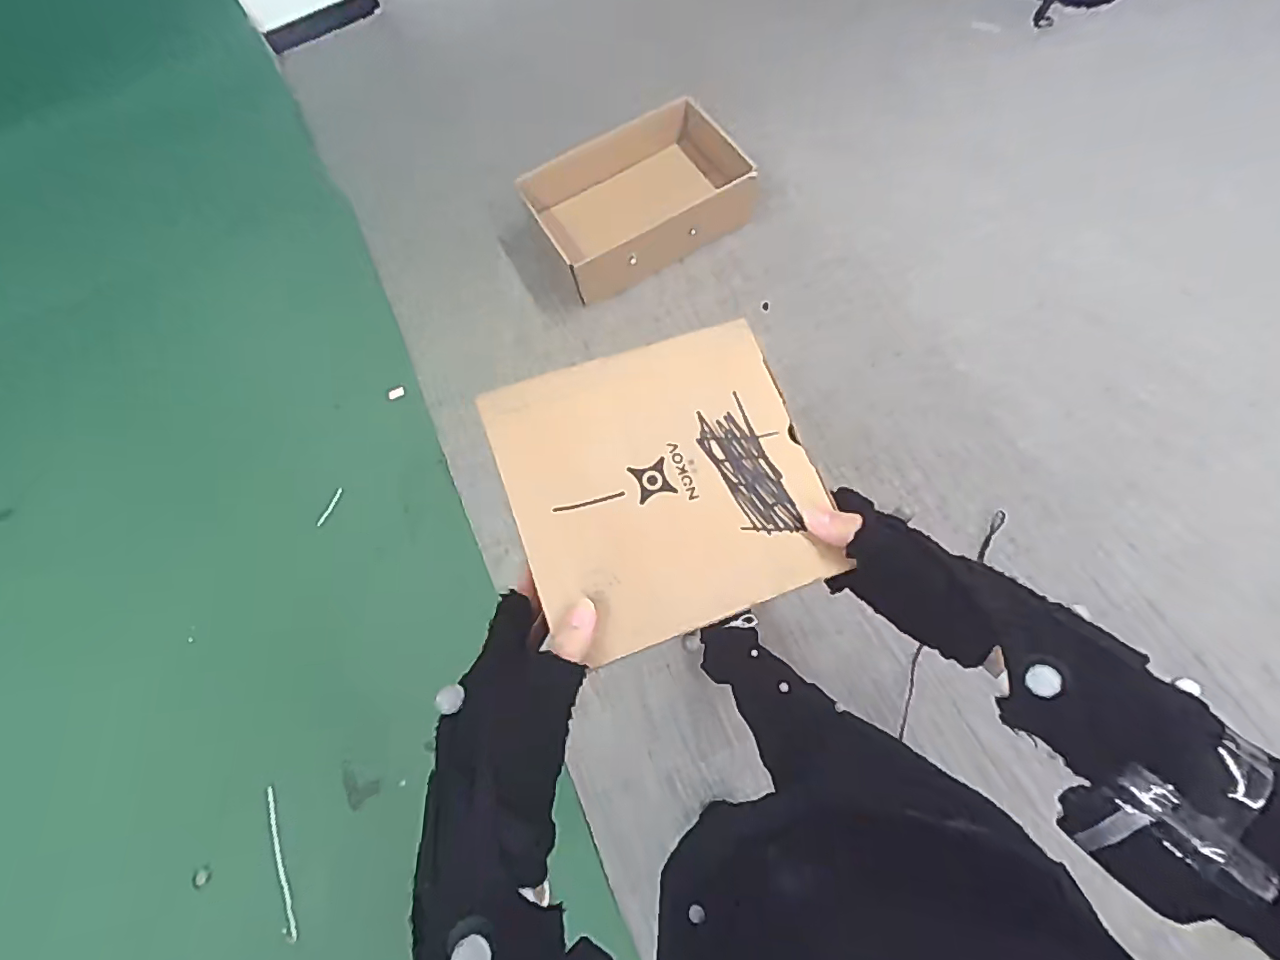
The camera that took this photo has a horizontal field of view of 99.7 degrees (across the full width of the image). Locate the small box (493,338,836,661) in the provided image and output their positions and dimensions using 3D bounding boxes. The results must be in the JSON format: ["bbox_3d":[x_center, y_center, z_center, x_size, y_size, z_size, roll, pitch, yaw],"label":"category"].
[{"bbox_3d":[0.005,0.024,0.405,0.179,0.176,0.168,-17,75,-11],"label":"small box"}]
